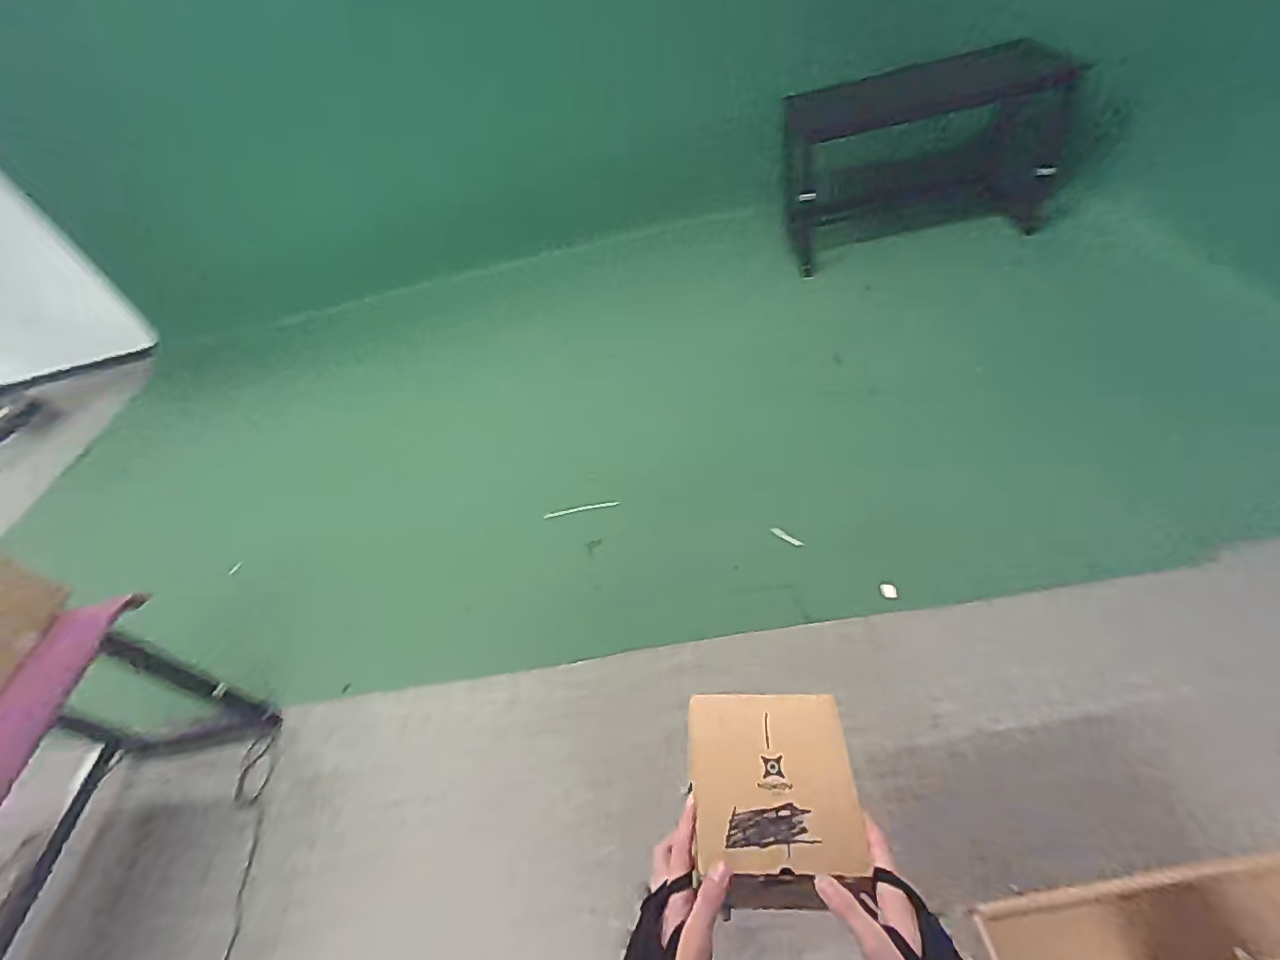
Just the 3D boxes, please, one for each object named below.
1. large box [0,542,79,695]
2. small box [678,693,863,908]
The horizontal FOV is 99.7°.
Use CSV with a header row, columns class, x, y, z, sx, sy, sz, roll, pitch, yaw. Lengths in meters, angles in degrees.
class,x,y,z,sx,sy,sz,roll,pitch,yaw
large box,-1.676,0.324,1.227,0.408,0.320,0.320,-10,48,7
small box,0.129,0.362,0.610,0.168,0.176,0.179,-2,43,2
